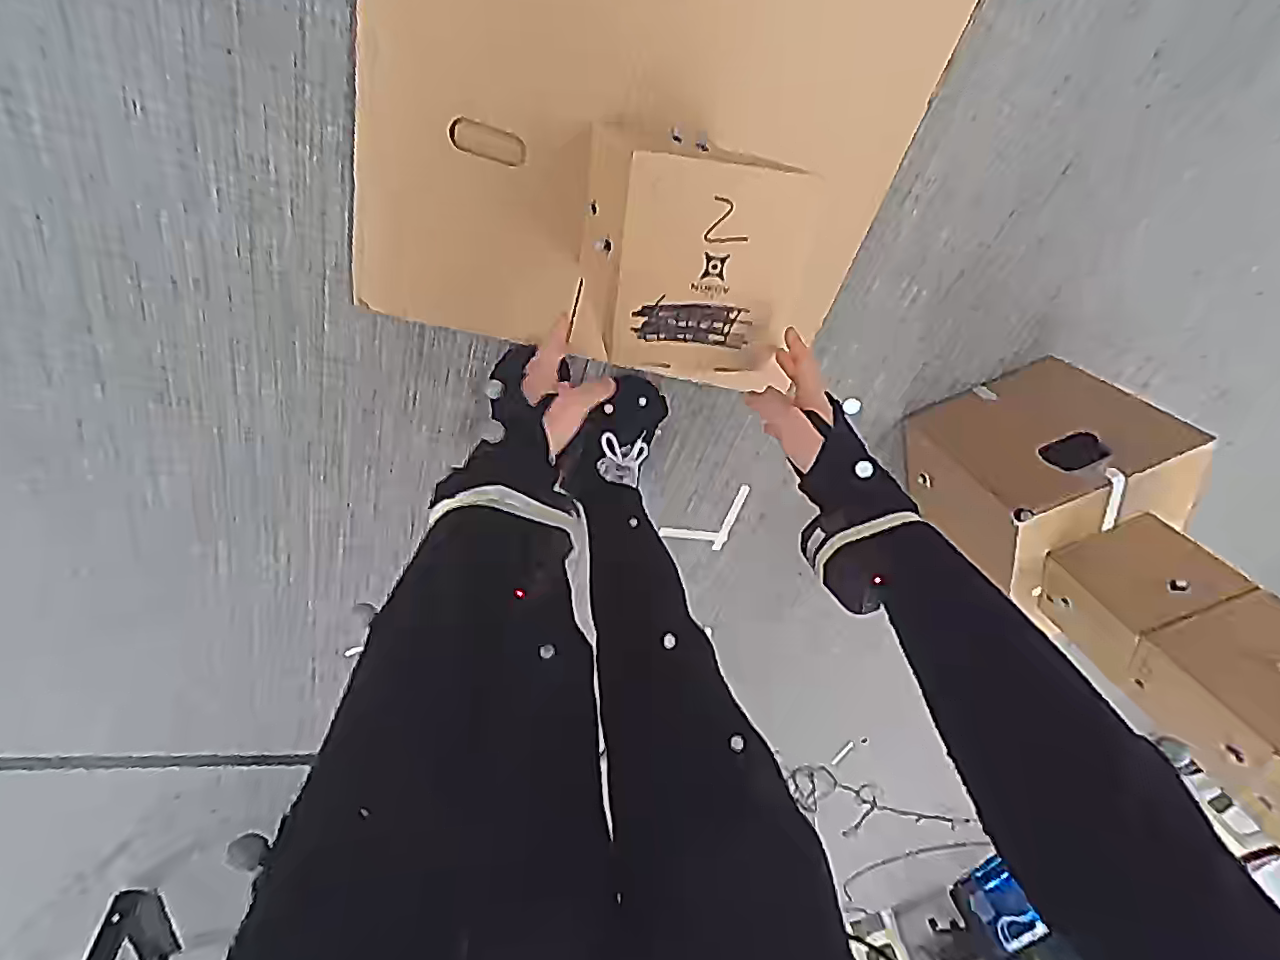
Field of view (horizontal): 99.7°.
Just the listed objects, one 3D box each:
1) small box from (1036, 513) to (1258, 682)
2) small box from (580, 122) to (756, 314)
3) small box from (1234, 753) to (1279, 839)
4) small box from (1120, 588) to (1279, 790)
[{"bbox_3d":[0.784,0.181,0.860,0.179,0.176,0.168,-24,128,5],"label":"small box"},{"bbox_3d":[0.019,-0.326,0.668,0.168,0.176,0.179,2,126,-13],"label":"small box"},{"bbox_3d":[0.851,0.376,0.606,0.179,0.176,0.168,-24,128,4],"label":"small box"},{"bbox_3d":[0.819,0.277,0.731,0.179,0.176,0.168,-24,128,4],"label":"small box"}]
